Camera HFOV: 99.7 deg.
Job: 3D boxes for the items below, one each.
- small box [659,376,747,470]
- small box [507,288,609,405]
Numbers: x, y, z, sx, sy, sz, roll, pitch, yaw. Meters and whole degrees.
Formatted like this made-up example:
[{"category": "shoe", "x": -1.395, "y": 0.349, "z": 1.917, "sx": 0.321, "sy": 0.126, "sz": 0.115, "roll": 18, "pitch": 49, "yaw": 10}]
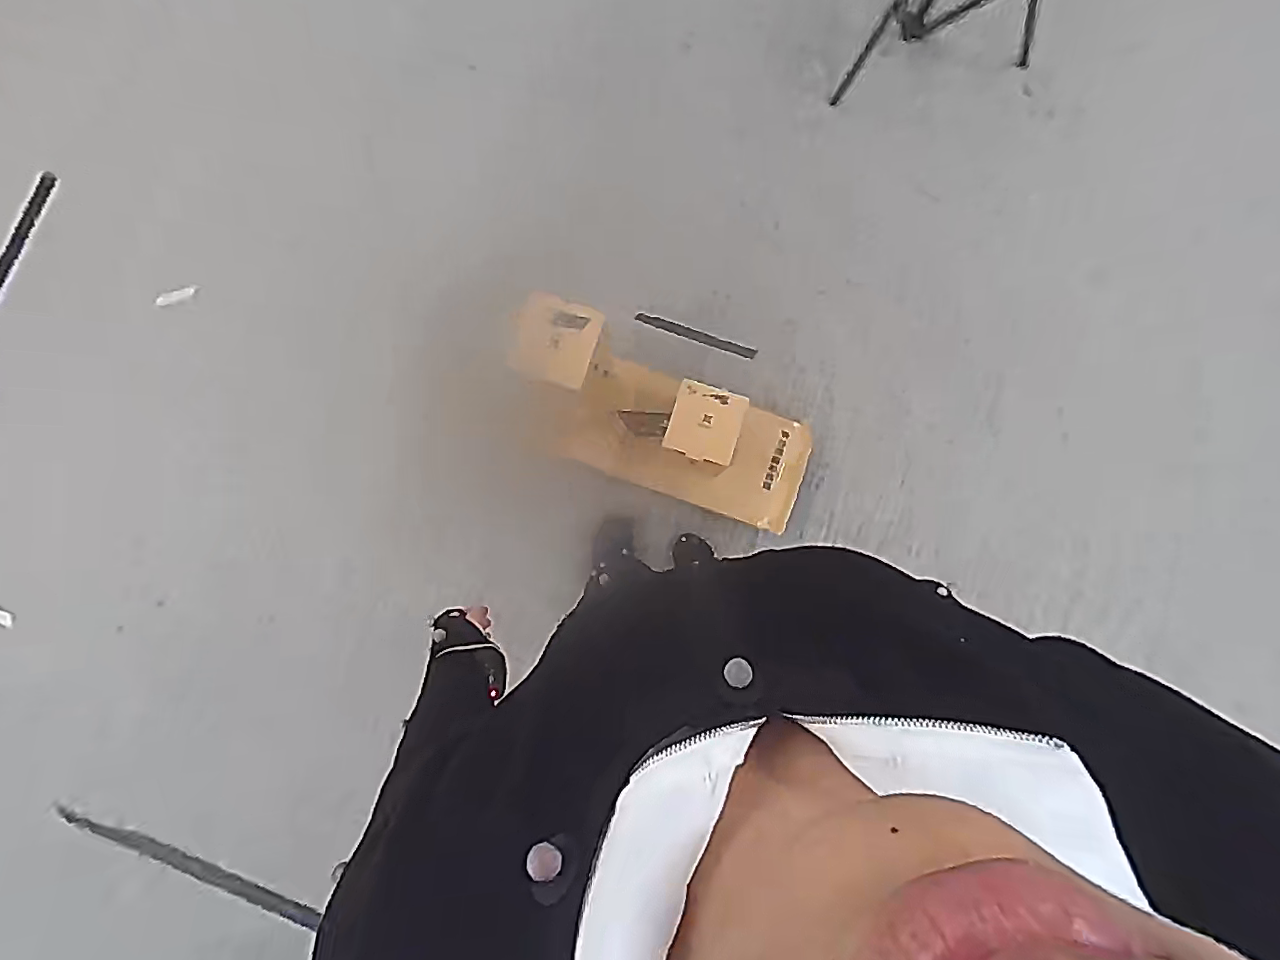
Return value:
[{"category": "small box", "x": 0.153, "y": -0.133, "z": 1.344, "sx": 0.168, "sy": 0.176, "sz": 0.179, "roll": 19, "pitch": 85, "yaw": 4}, {"category": "small box", "x": -0.172, "y": -0.286, "z": 1.193, "sx": 0.168, "sy": 0.176, "sz": 0.179, "roll": 19, "pitch": 85, "yaw": 2}]
